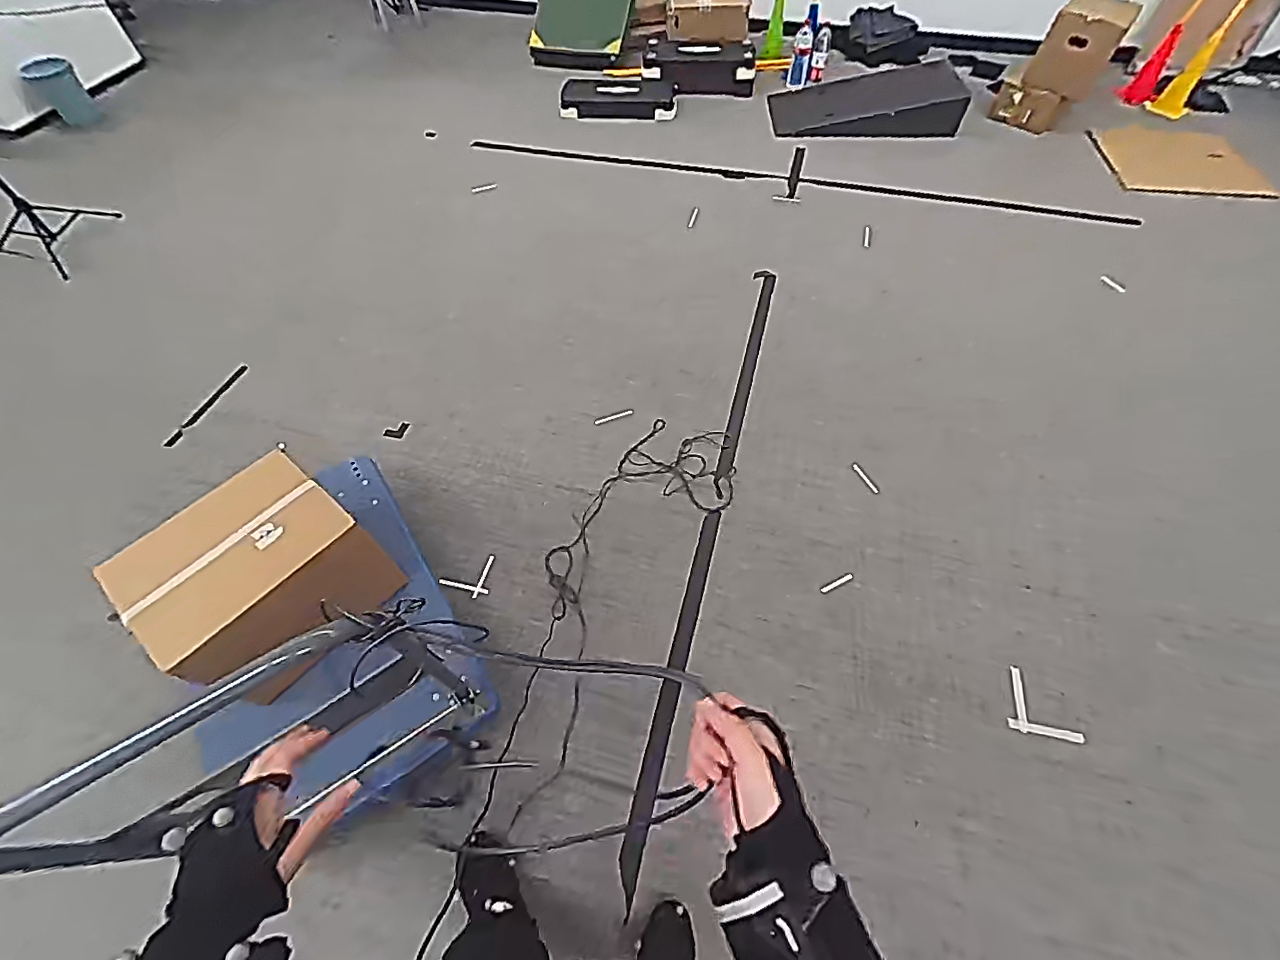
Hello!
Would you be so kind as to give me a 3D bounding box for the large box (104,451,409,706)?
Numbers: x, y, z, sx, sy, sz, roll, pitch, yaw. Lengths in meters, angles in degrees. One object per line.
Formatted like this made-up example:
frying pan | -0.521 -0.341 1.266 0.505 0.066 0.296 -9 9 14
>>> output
large box | -0.824 0.222 1.223 0.320 0.320 0.408 35 63 20
